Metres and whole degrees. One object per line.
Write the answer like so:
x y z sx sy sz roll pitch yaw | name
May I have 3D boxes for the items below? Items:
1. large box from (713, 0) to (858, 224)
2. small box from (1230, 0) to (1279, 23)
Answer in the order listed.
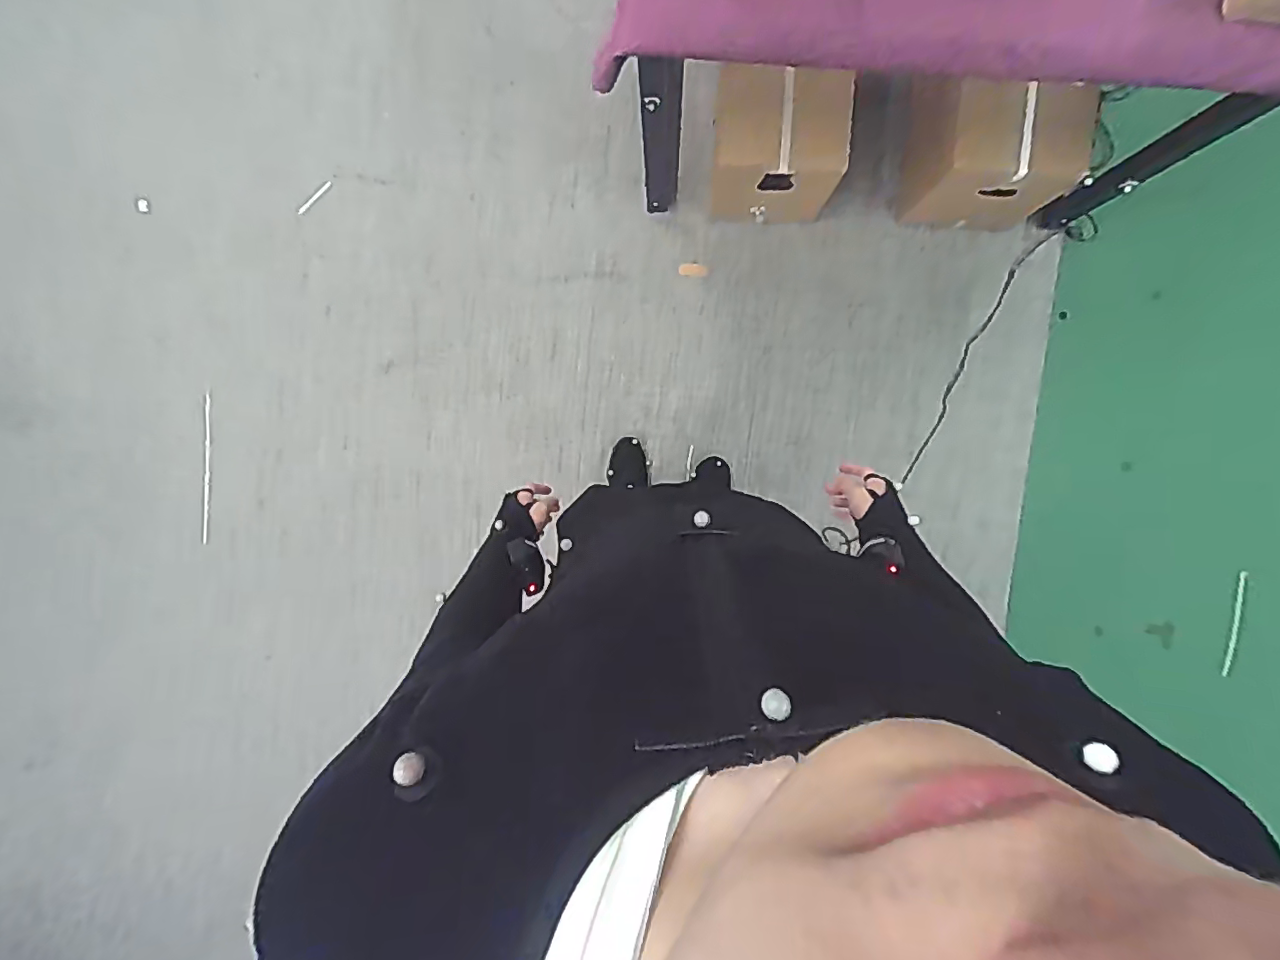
0.360 -0.940 1.425 0.320 0.320 0.408 3 92 2 | large box
0.978 -0.777 0.737 0.168 0.176 0.179 7 91 4 | small box
